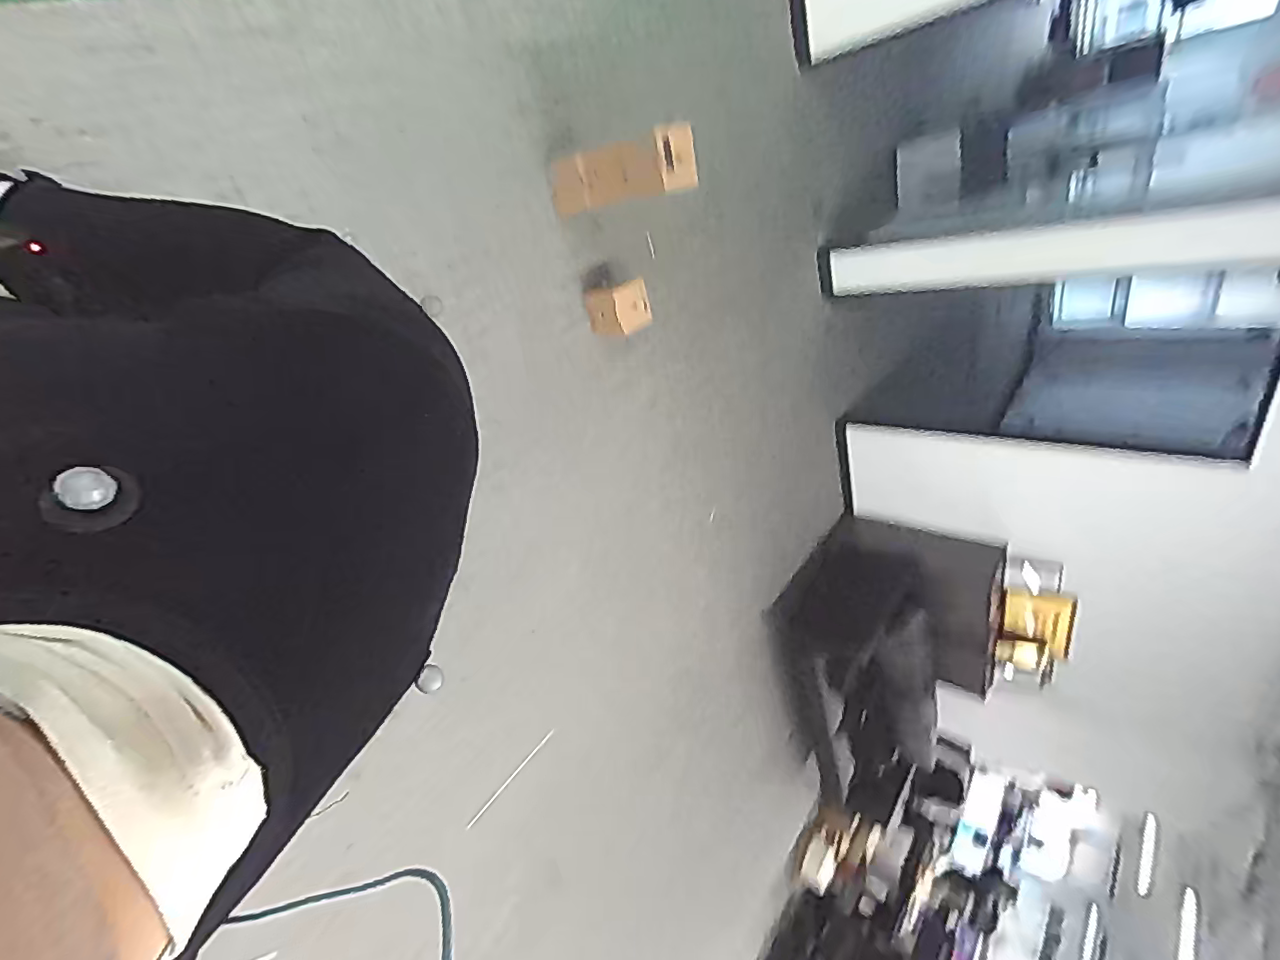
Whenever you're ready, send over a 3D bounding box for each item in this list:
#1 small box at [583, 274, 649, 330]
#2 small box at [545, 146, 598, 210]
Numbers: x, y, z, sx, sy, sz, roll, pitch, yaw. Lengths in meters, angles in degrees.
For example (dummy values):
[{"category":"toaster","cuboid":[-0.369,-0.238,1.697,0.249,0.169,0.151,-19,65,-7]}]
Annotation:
[{"category":"small box","cuboid":[-0.099,-0.683,2.088,0.179,0.176,0.168,-38,126,-35]},{"category":"small box","cuboid":[-0.208,-1.047,1.873,0.179,0.176,0.168,-37,126,-38]}]
